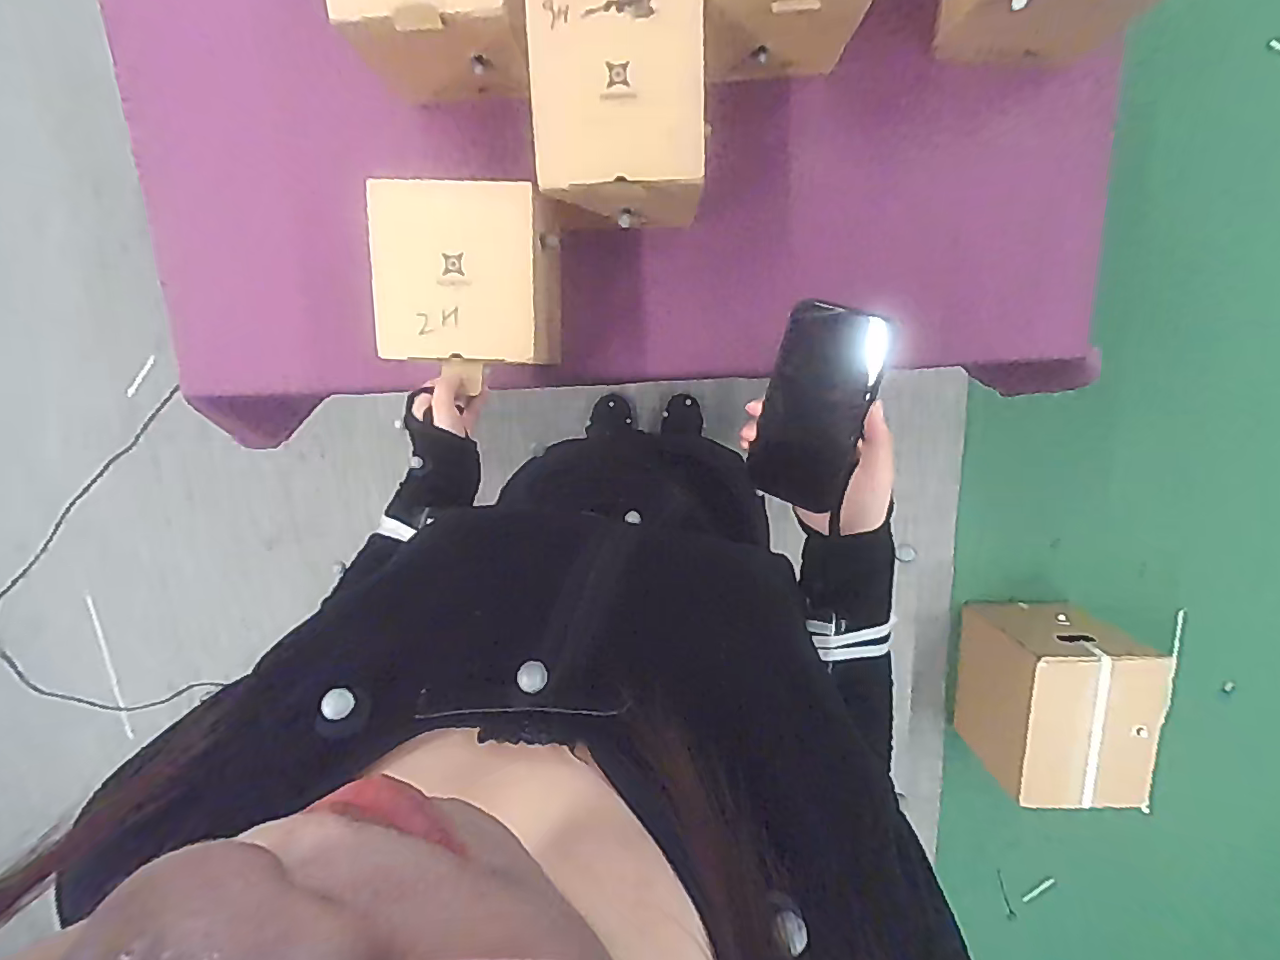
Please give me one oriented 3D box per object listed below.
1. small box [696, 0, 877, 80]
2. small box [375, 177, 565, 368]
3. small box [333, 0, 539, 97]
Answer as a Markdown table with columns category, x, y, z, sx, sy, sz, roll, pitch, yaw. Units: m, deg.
| category | x | y | z | sx | sy | sz | roll | pitch | yaw |
| --- | --- | --- | --- | --- | --- | --- | --- | --- | --- |
| small box | 0.144 | -0.553 | 0.551 | 0.168 | 0.176 | 0.179 | -4 | 103 | 2 |
| small box | -0.183 | -0.224 | 0.625 | 0.168 | 0.176 | 0.179 | 3 | 101 | 1 |
| small box | -0.205 | -0.528 | 0.564 | 0.168 | 0.176 | 0.179 | -2 | 102 | 1 |
